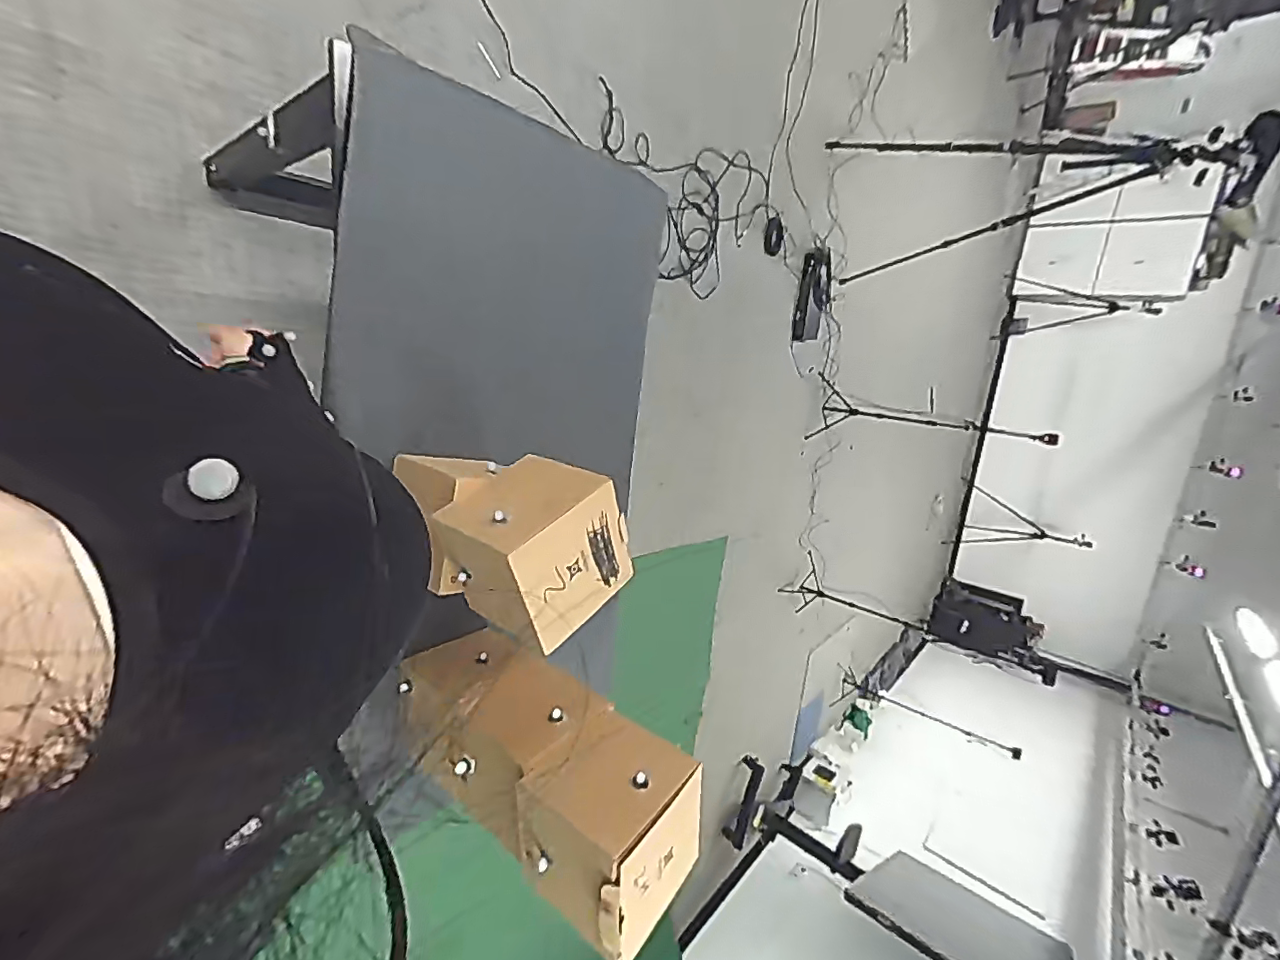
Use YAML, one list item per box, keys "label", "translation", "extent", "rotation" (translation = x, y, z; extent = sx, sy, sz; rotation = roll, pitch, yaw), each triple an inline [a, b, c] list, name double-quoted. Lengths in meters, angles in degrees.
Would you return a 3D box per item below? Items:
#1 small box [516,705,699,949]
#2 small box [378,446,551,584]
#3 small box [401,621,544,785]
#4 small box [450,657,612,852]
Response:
- label: "small box"
  translation: [-0.041, 0.434, 0.713]
  extent: [0.179, 0.176, 0.168]
  rotation: [-20, 115, -48]
- label: "small box"
  translation: [-0.269, 0.047, 0.833]
  extent: [0.179, 0.176, 0.168]
  rotation: [3, 100, -53]
- label: "small box"
  translation: [-0.286, 0.364, 0.919]
  extent: [0.179, 0.176, 0.168]
  rotation: [-11, 110, -51]
- label: "small box"
  translation: [-0.163, 0.397, 0.819]
  extent: [0.179, 0.176, 0.168]
  rotation: [-15, 112, -48]
